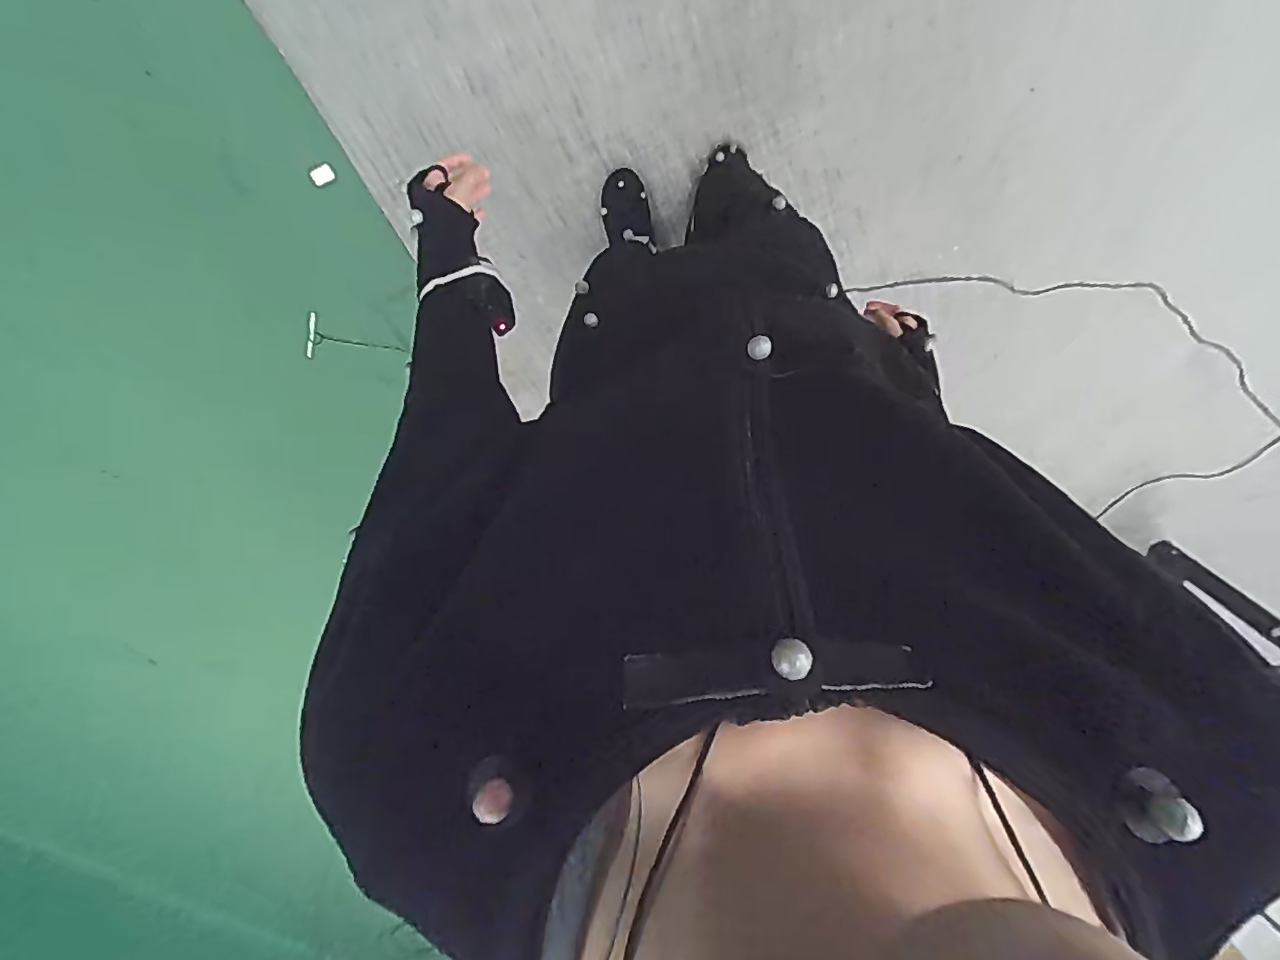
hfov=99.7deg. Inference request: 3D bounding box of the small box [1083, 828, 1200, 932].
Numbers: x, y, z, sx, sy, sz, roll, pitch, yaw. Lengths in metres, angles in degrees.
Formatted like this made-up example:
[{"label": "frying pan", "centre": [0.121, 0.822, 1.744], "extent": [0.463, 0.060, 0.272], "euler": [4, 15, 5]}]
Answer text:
[{"label": "small box", "centre": [1.371, 1.101, 1.493], "extent": [0.179, 0.176, 0.168], "euler": [-22, 122, 10]}]
